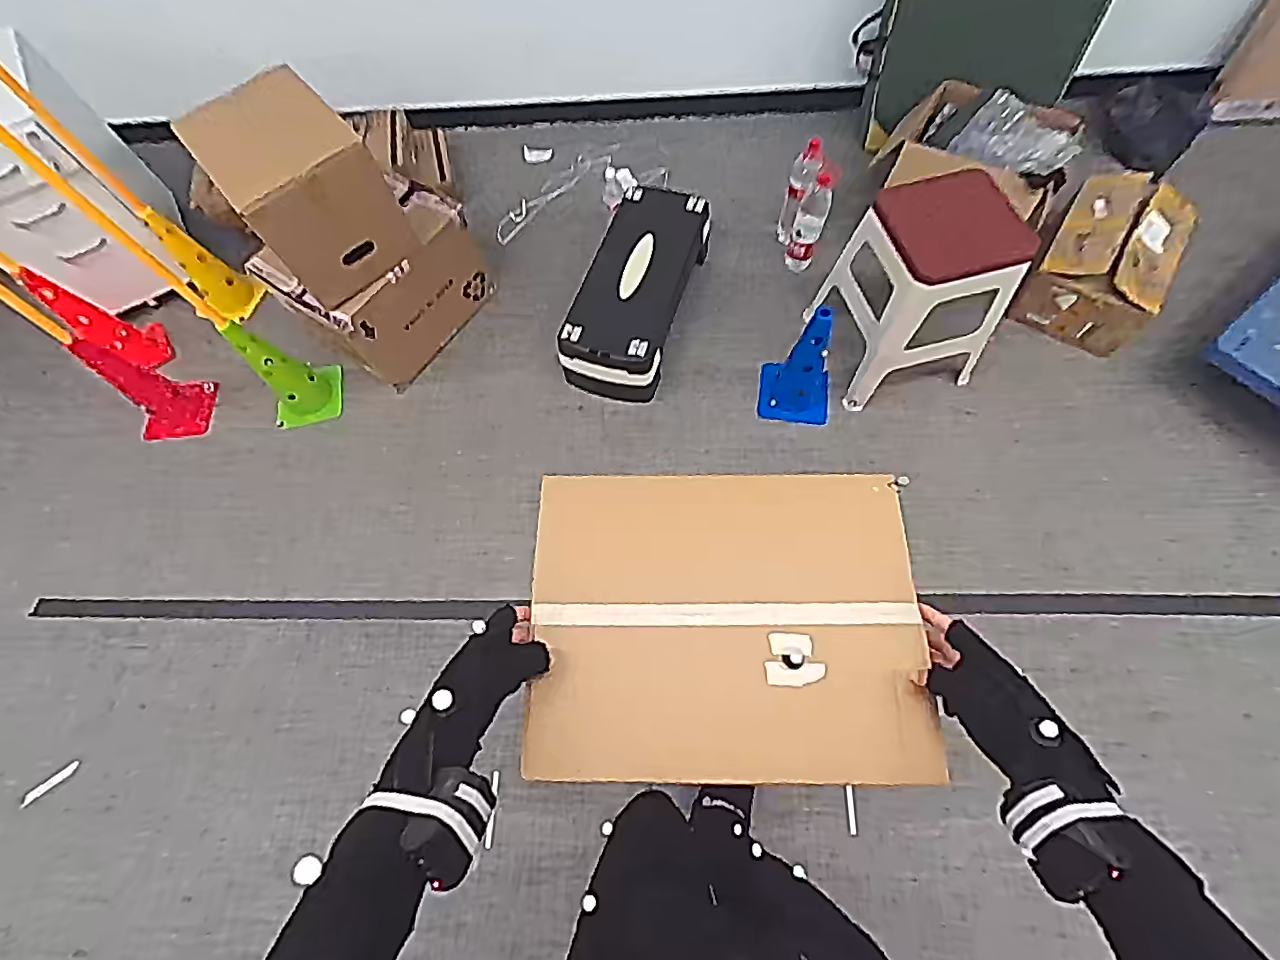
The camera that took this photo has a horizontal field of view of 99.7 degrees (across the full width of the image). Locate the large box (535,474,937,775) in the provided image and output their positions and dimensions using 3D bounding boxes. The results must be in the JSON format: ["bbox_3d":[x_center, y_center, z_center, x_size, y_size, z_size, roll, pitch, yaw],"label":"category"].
[{"bbox_3d":[0.091,0.192,0.717,0.408,0.320,0.320,0,70,1],"label":"large box"}]
